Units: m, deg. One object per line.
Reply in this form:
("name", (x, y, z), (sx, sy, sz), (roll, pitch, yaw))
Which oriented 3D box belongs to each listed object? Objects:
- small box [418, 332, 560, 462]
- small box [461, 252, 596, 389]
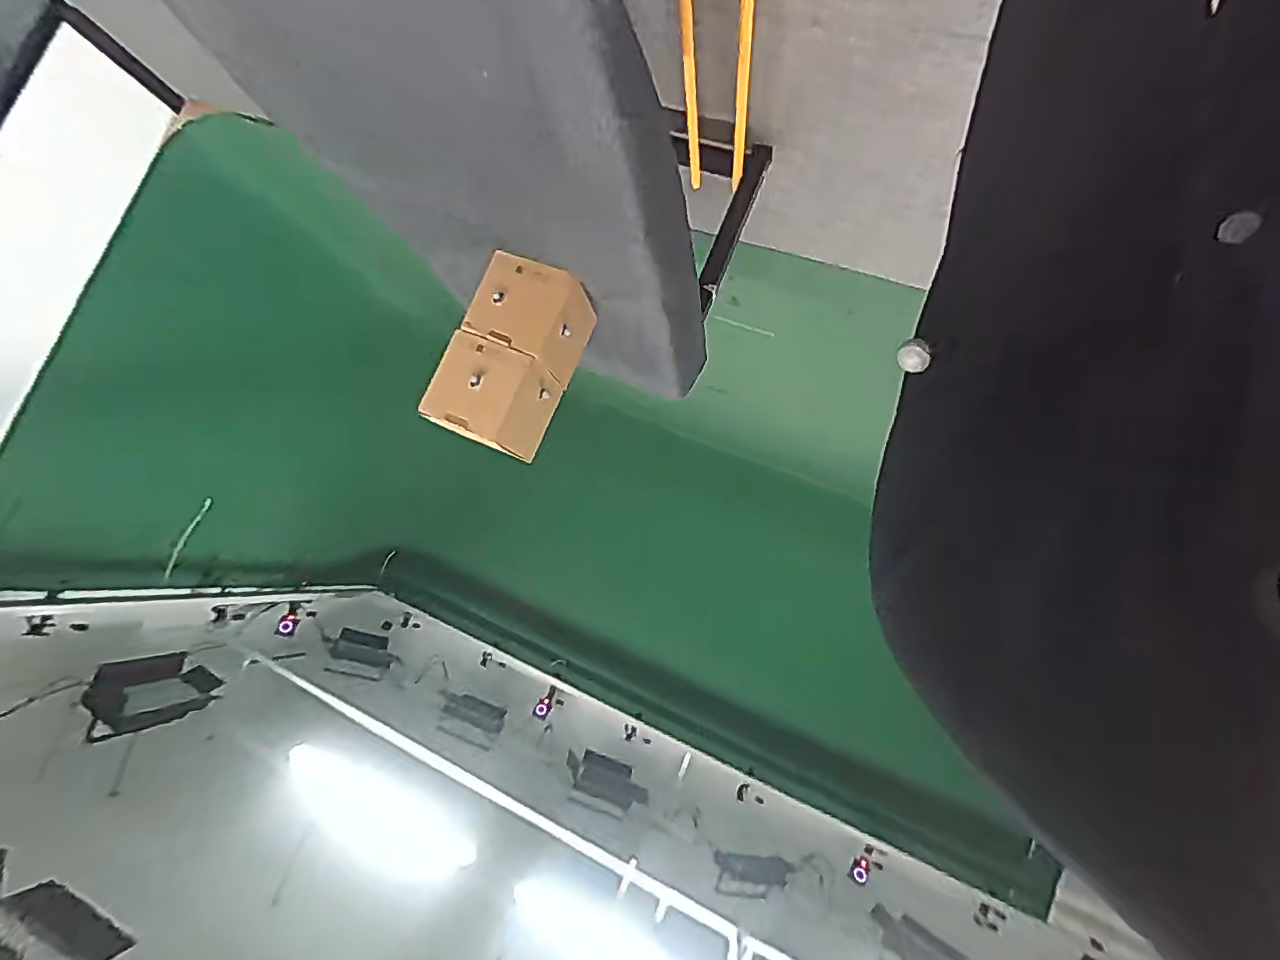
("small box", (-0.274, -0.154, 1.019), (0.168, 0.176, 0.179), (22, 173, 13))
("small box", (-0.204, -0.302, 1.033), (0.168, 0.176, 0.179), (23, 175, 12))
